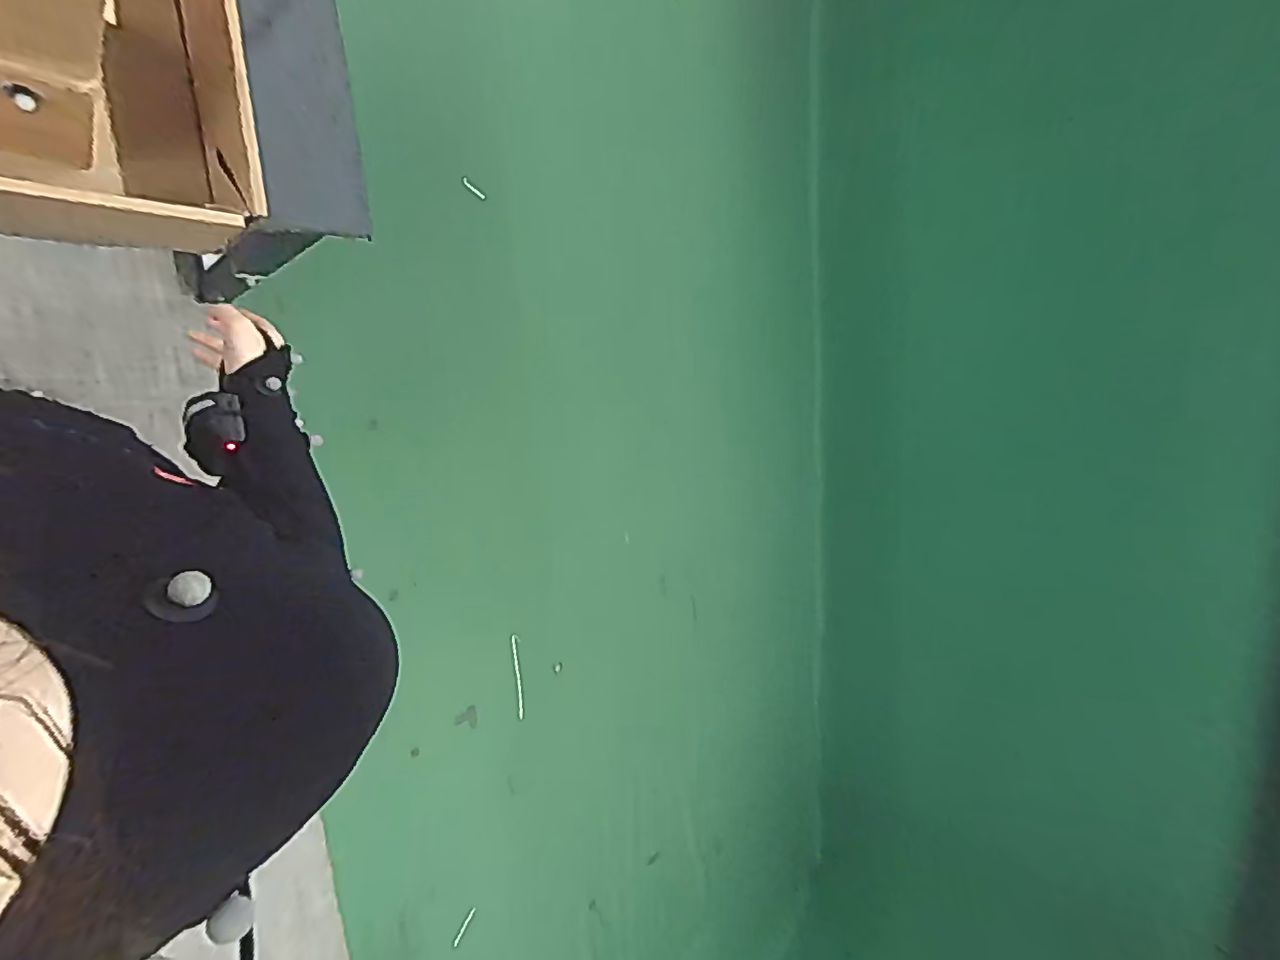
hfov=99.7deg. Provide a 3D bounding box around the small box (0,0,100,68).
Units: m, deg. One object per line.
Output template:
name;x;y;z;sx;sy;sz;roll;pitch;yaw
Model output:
small box;-0.424;-0.368;0.289;0.179;0.176;0.168;-15;105;-46
